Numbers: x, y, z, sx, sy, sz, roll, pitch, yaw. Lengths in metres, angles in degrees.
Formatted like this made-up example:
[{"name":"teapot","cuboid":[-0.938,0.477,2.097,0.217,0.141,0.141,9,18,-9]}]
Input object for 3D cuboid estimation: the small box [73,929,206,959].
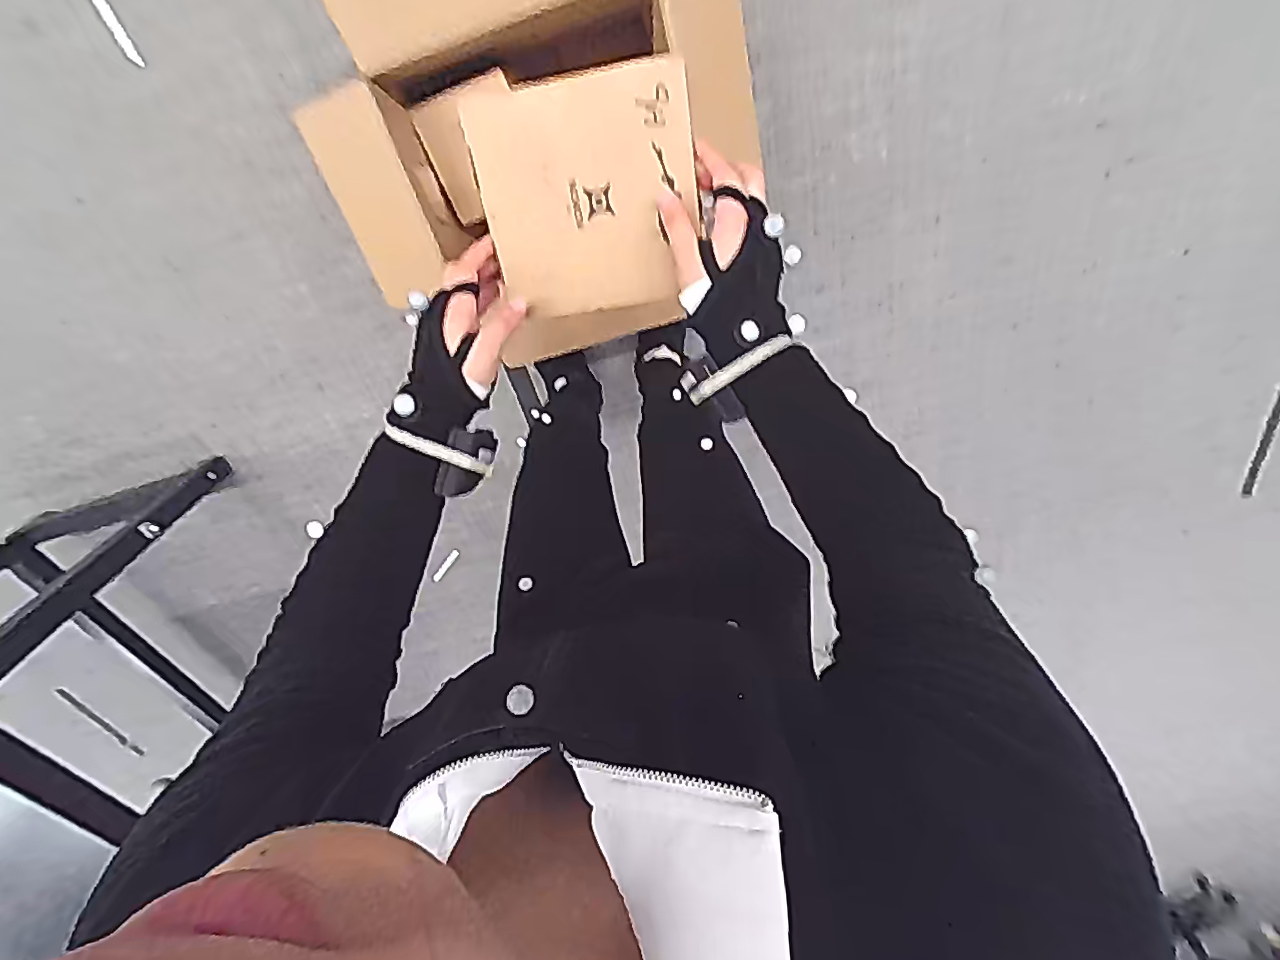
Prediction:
[{"name":"small box","cuboid":[-1.044,1.032,1.084,0.168,0.176,0.179,-15,121,8]}]
